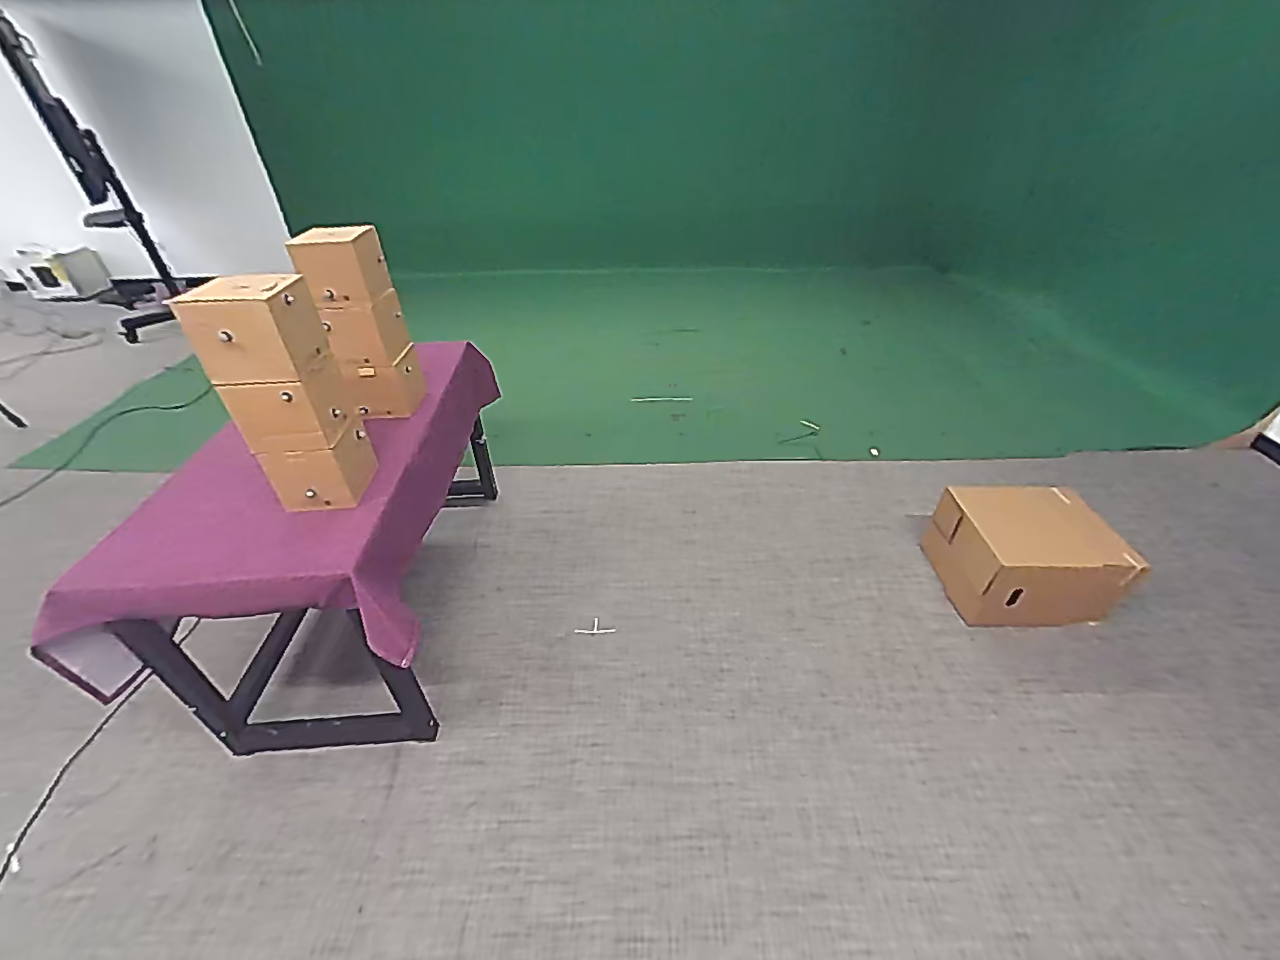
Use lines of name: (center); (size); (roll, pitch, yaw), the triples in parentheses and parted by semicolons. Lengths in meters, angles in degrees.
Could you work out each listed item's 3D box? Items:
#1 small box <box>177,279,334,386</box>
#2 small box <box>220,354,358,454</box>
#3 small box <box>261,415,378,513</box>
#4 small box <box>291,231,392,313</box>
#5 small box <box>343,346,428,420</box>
small box: (-0.771, -0.301, 1.108); (0.179, 0.176, 0.168); (-3, 37, -1)
small box: (-0.767, -0.168, 1.205); (0.179, 0.176, 0.168); (-3, 36, -2)
small box: (-0.757, -0.039, 1.305); (0.168, 0.176, 0.179); (-4, 36, -1)
small box: (-0.791, -0.561, 1.459); (0.168, 0.176, 0.179); (-3, 37, -1)
small box: (-0.766, -0.292, 1.645); (0.168, 0.176, 0.179); (-2, 36, 0)
